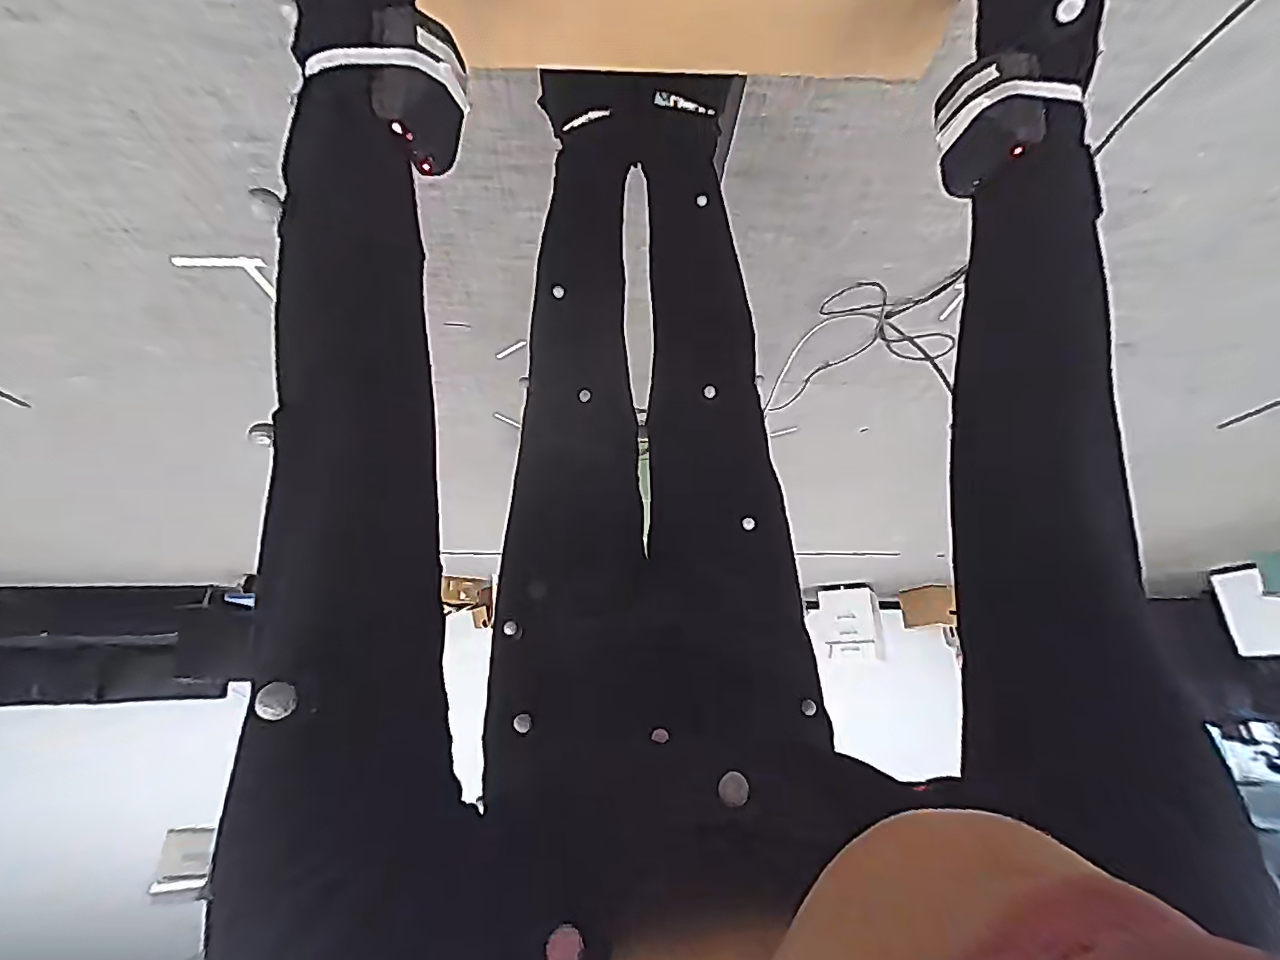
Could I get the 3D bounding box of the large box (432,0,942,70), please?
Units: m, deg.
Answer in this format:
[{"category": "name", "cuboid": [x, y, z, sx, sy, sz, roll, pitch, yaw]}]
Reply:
[{"category": "large box", "cuboid": [0.034, -0.547, 0.376, 0.408, 0.320, 0.320, -1, 159, -2]}]
